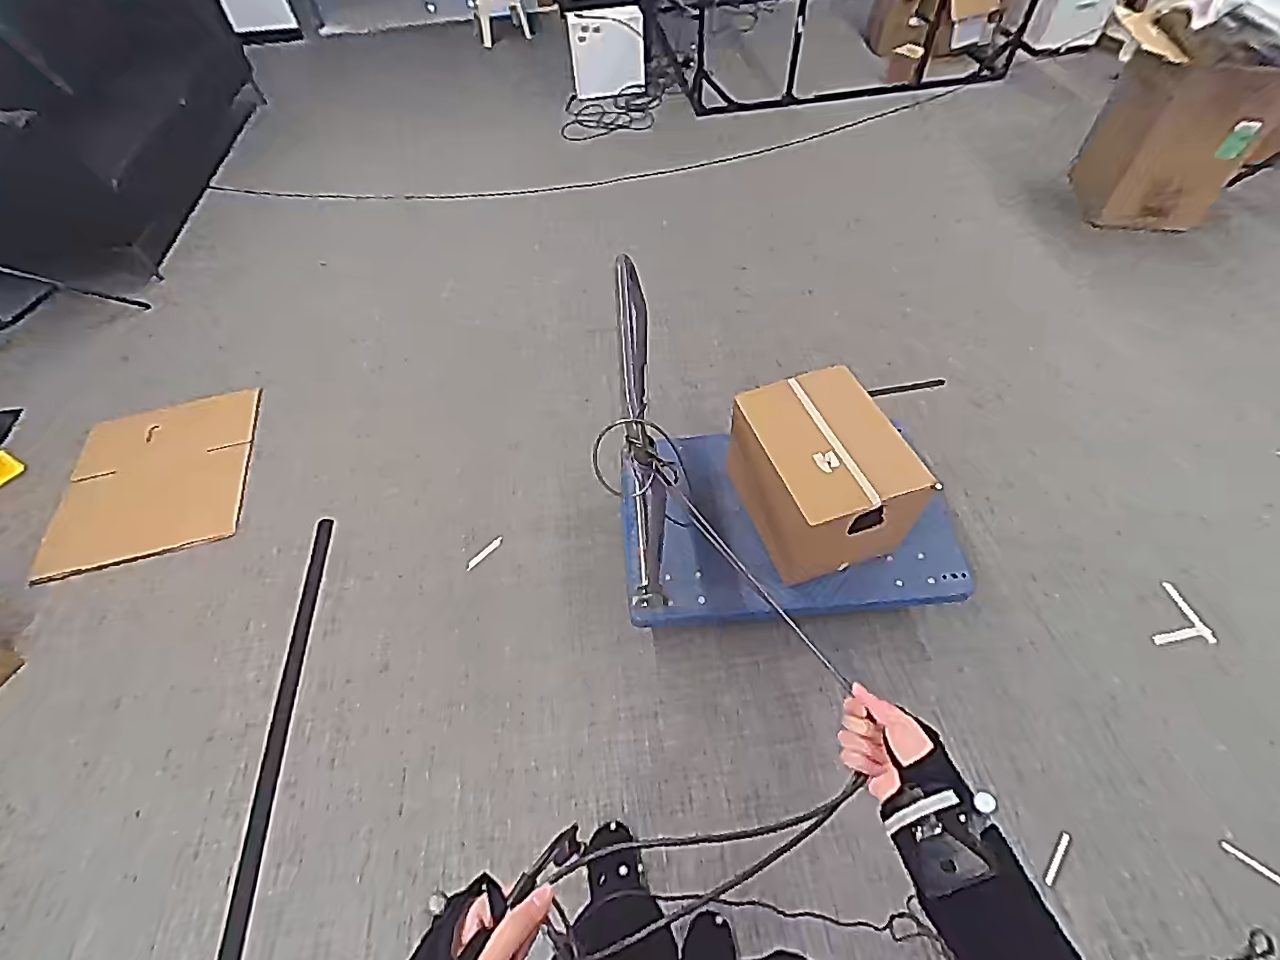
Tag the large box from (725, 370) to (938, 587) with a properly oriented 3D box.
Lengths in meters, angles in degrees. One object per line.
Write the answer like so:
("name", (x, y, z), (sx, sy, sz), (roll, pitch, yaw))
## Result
("large box", (0.444, -0.004, 1.373), (0.320, 0.320, 0.408), (-17, 57, -7))
